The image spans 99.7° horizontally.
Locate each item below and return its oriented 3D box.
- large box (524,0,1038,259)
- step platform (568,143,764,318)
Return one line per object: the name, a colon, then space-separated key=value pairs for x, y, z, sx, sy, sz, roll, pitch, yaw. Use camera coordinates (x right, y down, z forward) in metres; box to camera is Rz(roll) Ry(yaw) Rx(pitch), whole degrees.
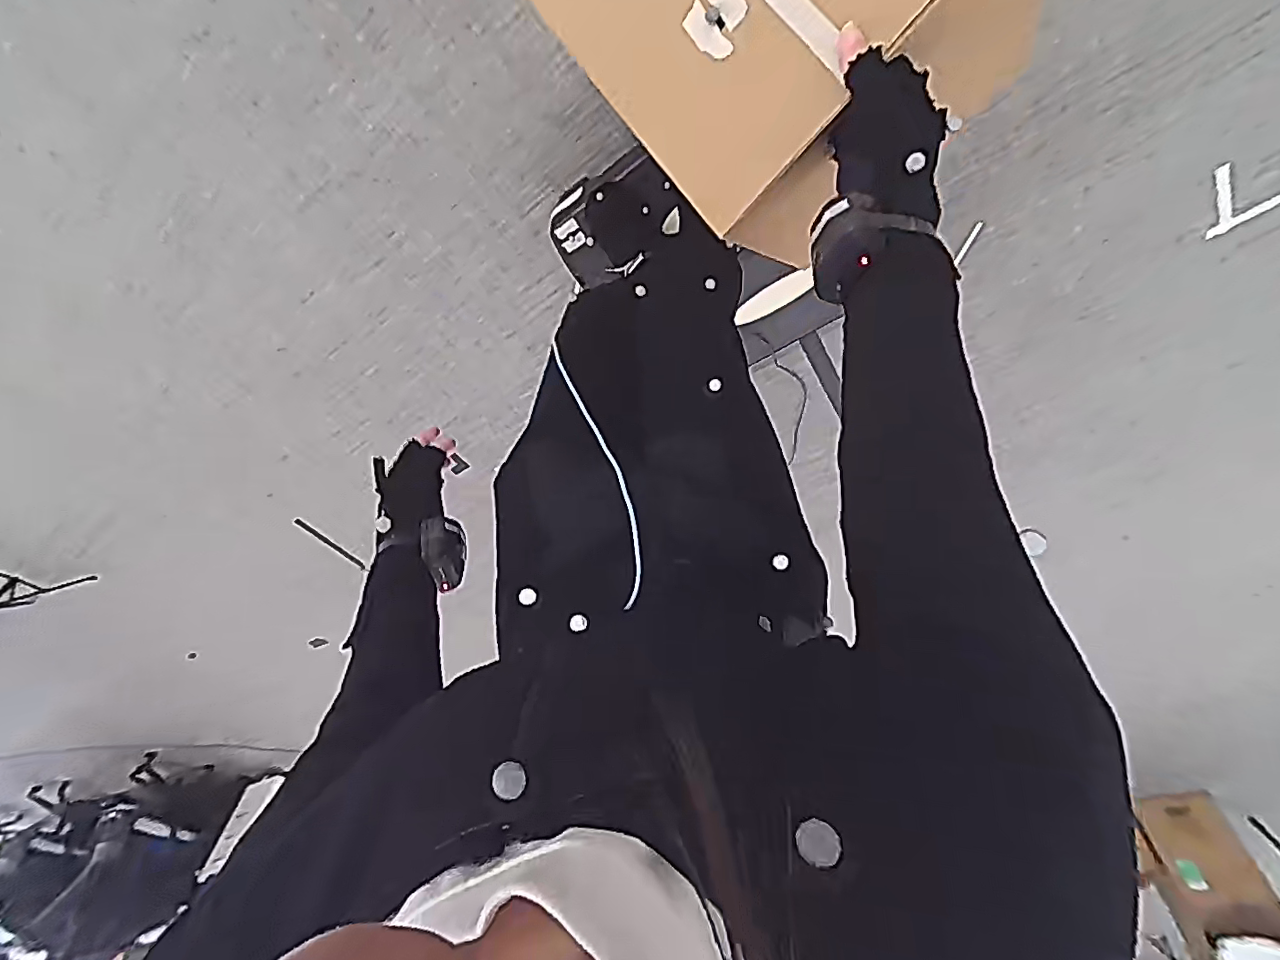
large box: x=0.140 y=-0.506 z=0.576 sx=0.320 sy=0.320 sz=0.408 roll=-42 pitch=81 yaw=35
step platform: x=0.185 y=-0.626 z=1.080 sx=0.684 sy=0.204 sz=0.286 roll=-27 pitch=125 yaw=25
